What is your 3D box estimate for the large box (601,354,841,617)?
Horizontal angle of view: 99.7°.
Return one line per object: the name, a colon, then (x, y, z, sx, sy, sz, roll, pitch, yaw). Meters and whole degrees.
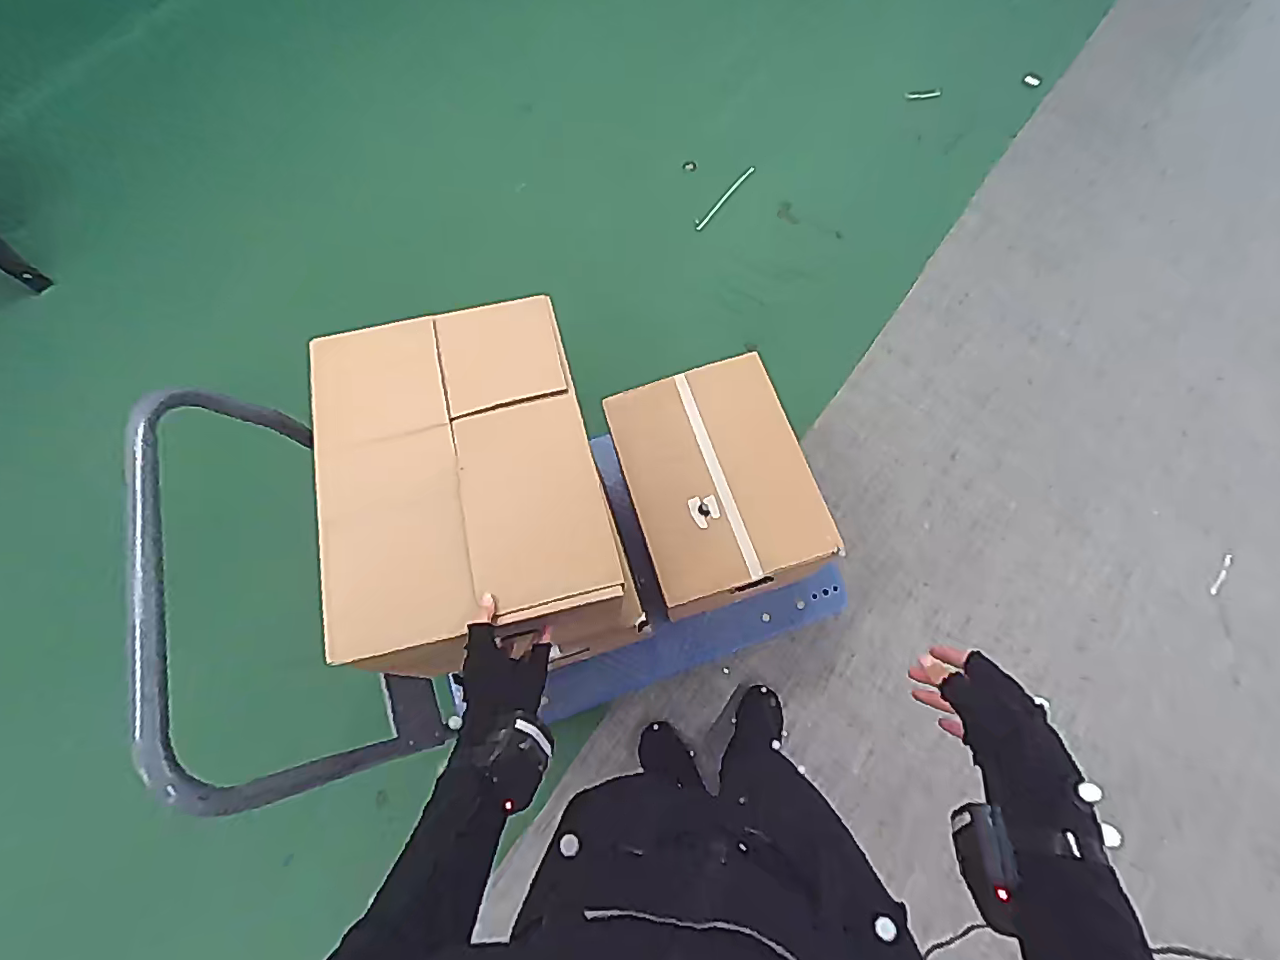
large box: (0.137, 0.027, 1.094, 0.320, 0.320, 0.408, -18, 71, -2)
